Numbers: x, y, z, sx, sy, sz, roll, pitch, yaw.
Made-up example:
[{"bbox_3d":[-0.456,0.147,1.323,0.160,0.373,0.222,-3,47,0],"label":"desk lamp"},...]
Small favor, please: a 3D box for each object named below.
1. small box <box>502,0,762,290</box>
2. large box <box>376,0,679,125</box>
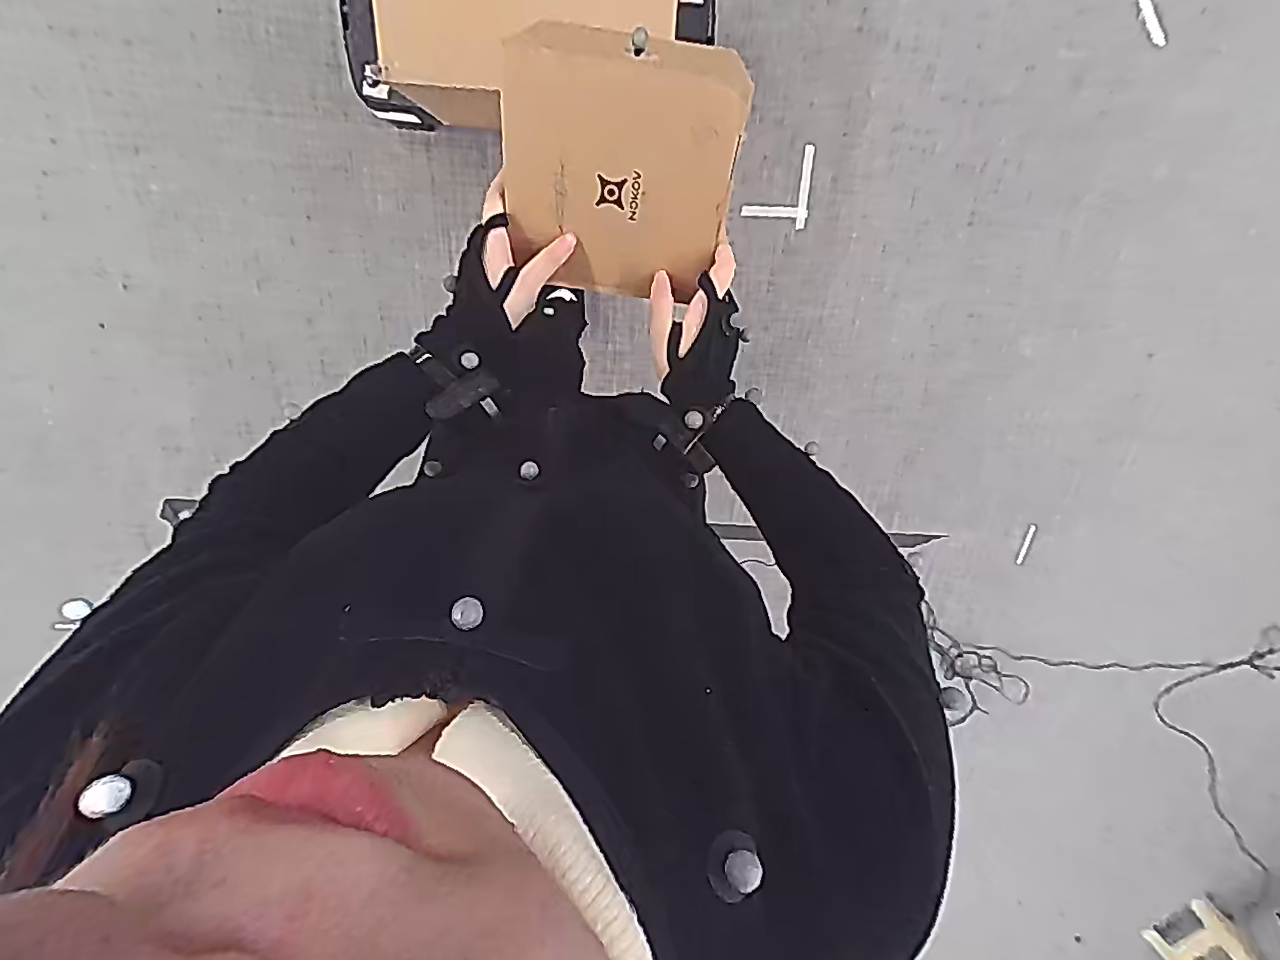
[{"bbox_3d":[-0.012,-0.289,0.464,0.179,0.176,0.168,8,134,-4],"label":"small box"},{"bbox_3d":[-0.149,-0.742,0.825,0.408,0.320,0.320,2,113,-3],"label":"large box"}]
